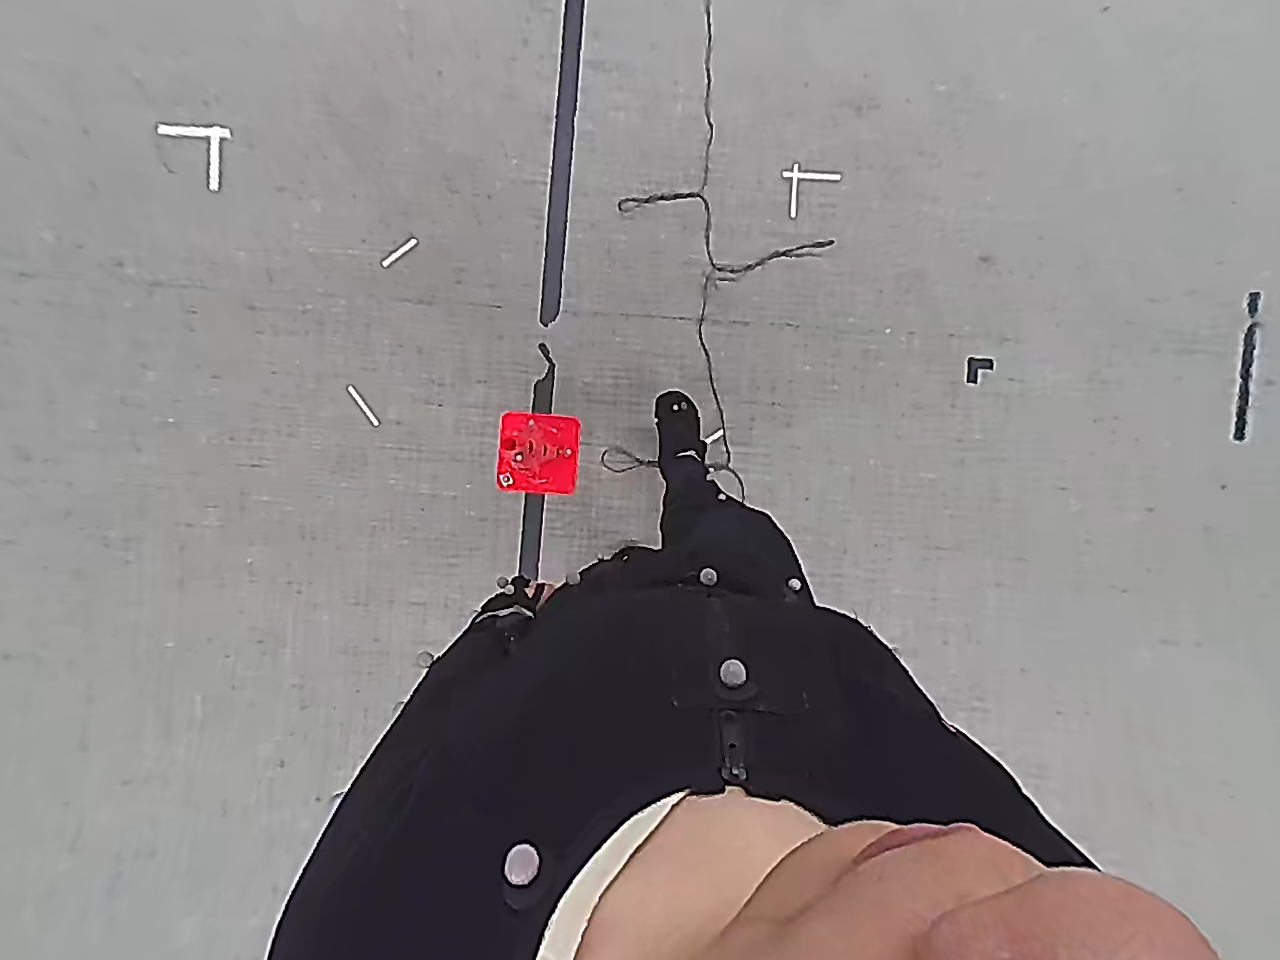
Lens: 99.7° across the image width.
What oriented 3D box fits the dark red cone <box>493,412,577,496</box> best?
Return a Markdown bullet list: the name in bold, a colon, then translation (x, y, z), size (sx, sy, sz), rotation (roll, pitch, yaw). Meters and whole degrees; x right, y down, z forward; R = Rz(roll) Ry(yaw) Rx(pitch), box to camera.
- **dark red cone**: translation (-0.248, -0.067, 1.170), size (0.201, 0.394, 0.202), rotation (3, 89, -3)
